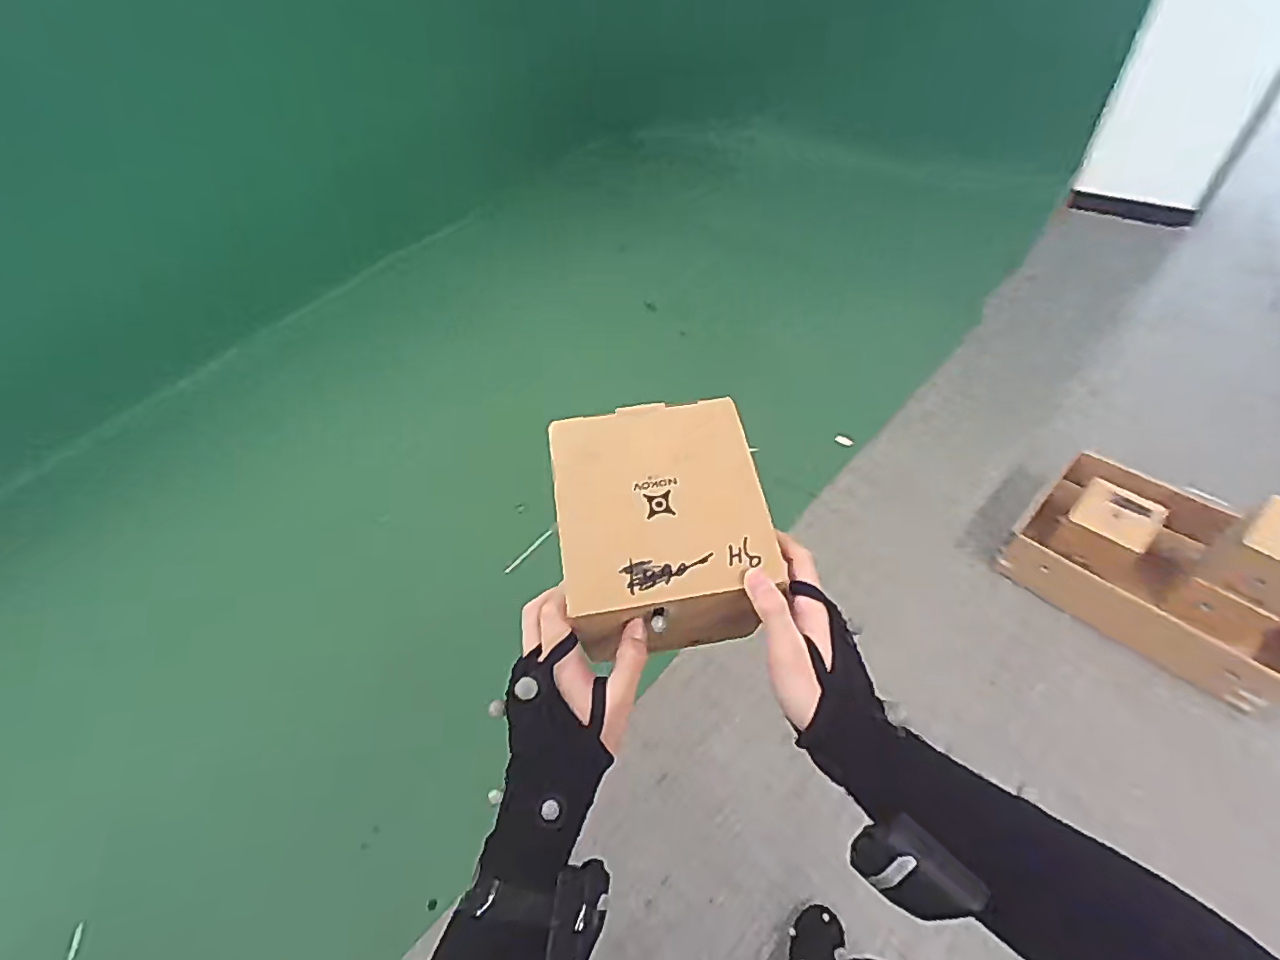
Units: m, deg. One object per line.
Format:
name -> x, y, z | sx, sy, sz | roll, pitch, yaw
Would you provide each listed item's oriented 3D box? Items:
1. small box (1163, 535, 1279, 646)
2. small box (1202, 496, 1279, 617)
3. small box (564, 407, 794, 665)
small box -> 1.462, 0.277, 1.341 | 0.179, 0.176, 0.168 | -40, 54, -18
small box -> 1.433, 0.177, 1.213 | 0.179, 0.176, 0.168 | -40, 55, -18
small box -> 0.025, 0.058, 0.506 | 0.168, 0.176, 0.179 | -8, 60, -3
